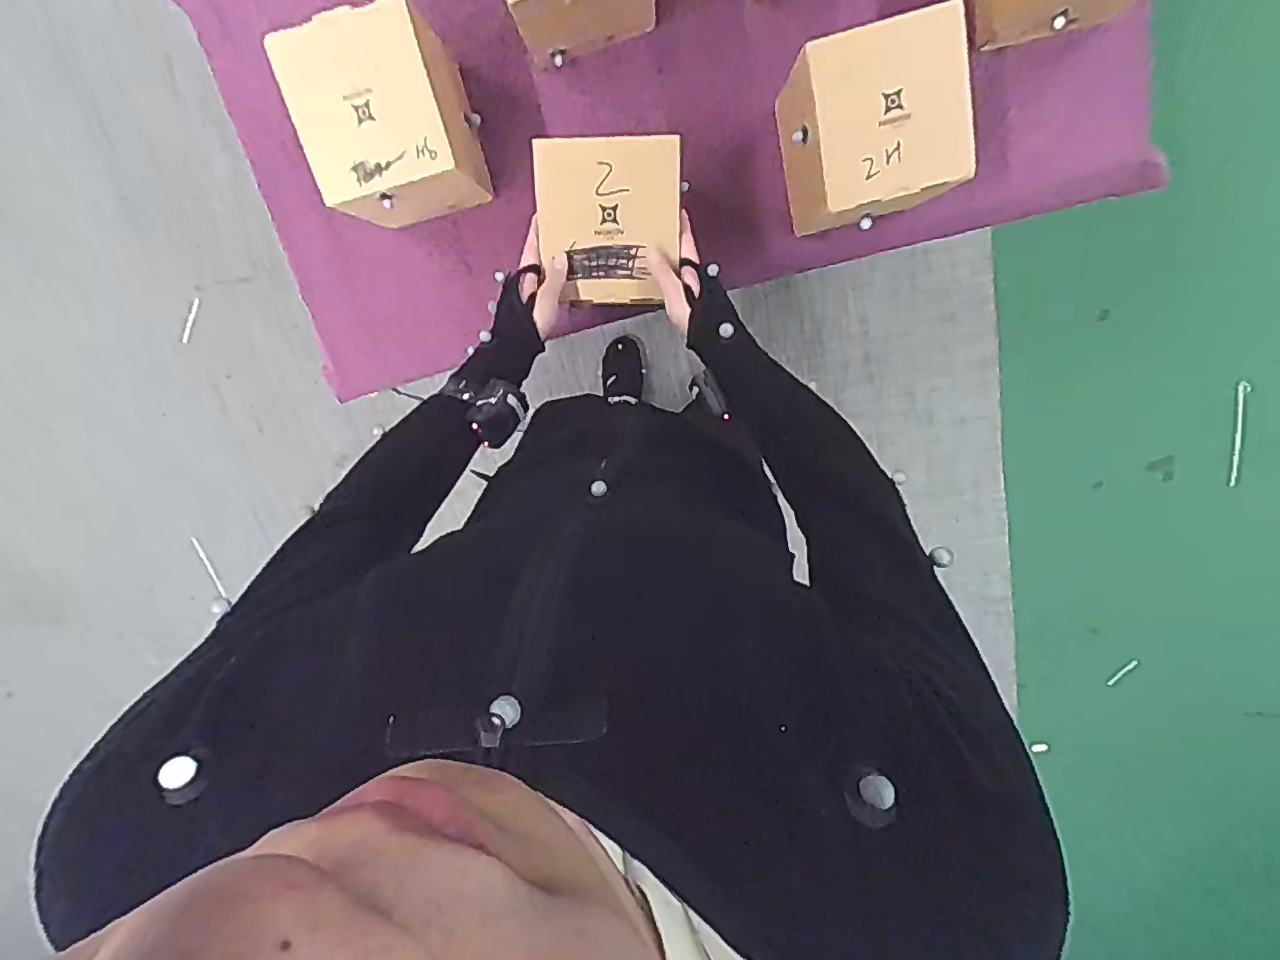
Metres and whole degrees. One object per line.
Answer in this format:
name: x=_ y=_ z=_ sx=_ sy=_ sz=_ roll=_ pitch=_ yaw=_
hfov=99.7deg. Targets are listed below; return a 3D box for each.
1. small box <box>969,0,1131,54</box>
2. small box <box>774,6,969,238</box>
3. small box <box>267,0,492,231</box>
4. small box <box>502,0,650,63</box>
small box: x=0.496 y=-0.635 z=0.609 sx=0.168 sy=0.176 sz=0.179 roll=-12 pitch=106 yaw=5
small box: x=0.274 y=-0.423 z=0.673 sx=0.168 sy=0.176 sz=0.179 roll=-12 pitch=104 yaw=5
small box: x=-0.308 y=-0.437 z=0.681 sx=0.168 sy=0.176 sz=0.179 roll=-13 pitch=105 yaw=6
small box: x=-0.086 y=-0.625 z=0.624 sx=0.168 sy=0.176 sz=0.179 roll=-15 pitch=104 yaw=5
